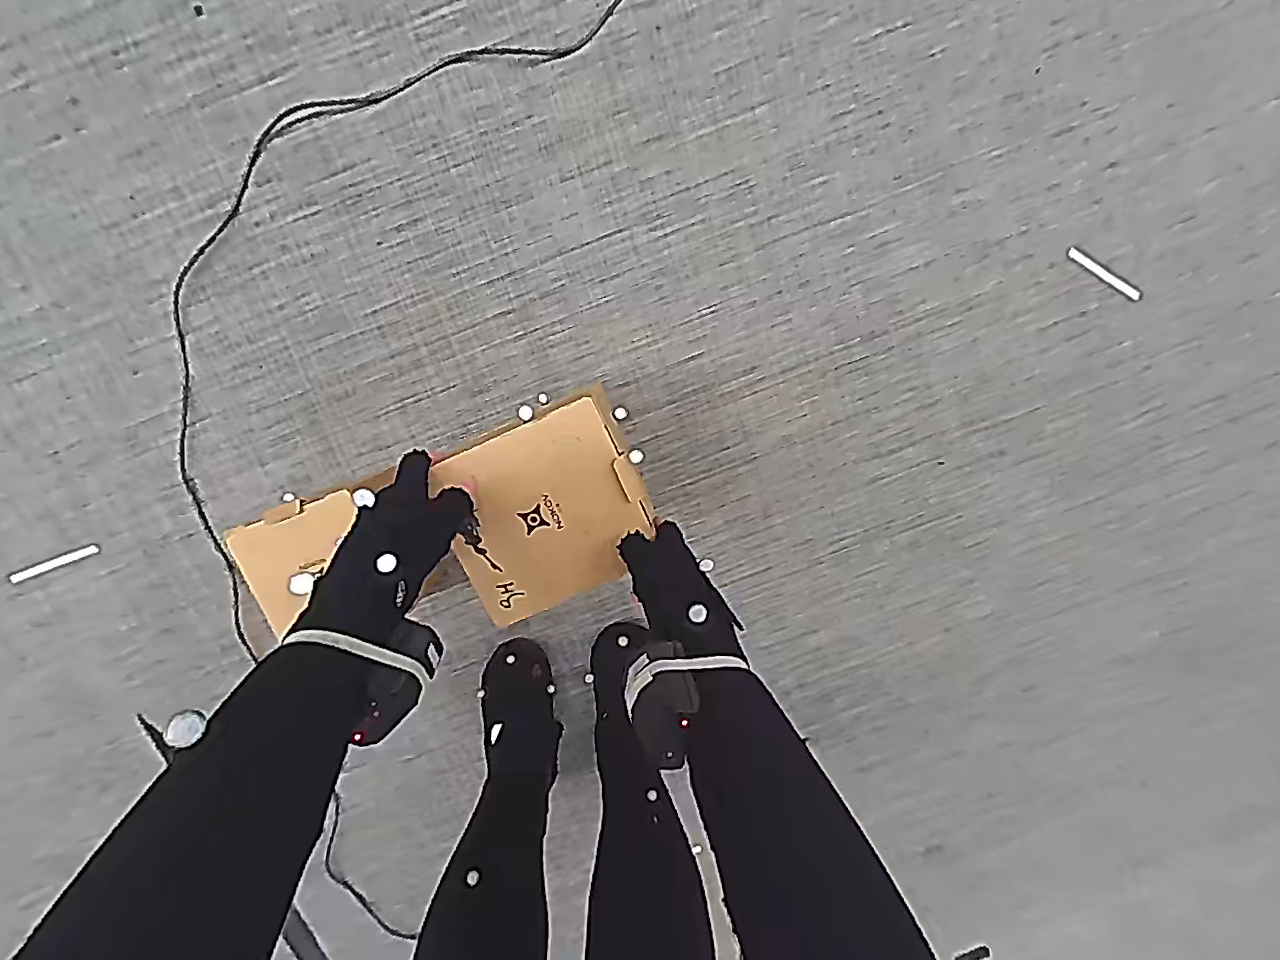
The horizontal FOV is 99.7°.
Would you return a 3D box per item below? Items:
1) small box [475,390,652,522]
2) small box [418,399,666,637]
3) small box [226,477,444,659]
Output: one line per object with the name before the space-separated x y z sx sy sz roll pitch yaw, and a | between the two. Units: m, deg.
small box | -0.095 -0.012 0.727 0.168 0.176 0.179 -22 102 2
small box | -0.092 0.024 0.564 0.179 0.176 0.168 -24 103 1
small box | -0.395 0.104 0.735 0.168 0.176 0.179 -19 103 1
